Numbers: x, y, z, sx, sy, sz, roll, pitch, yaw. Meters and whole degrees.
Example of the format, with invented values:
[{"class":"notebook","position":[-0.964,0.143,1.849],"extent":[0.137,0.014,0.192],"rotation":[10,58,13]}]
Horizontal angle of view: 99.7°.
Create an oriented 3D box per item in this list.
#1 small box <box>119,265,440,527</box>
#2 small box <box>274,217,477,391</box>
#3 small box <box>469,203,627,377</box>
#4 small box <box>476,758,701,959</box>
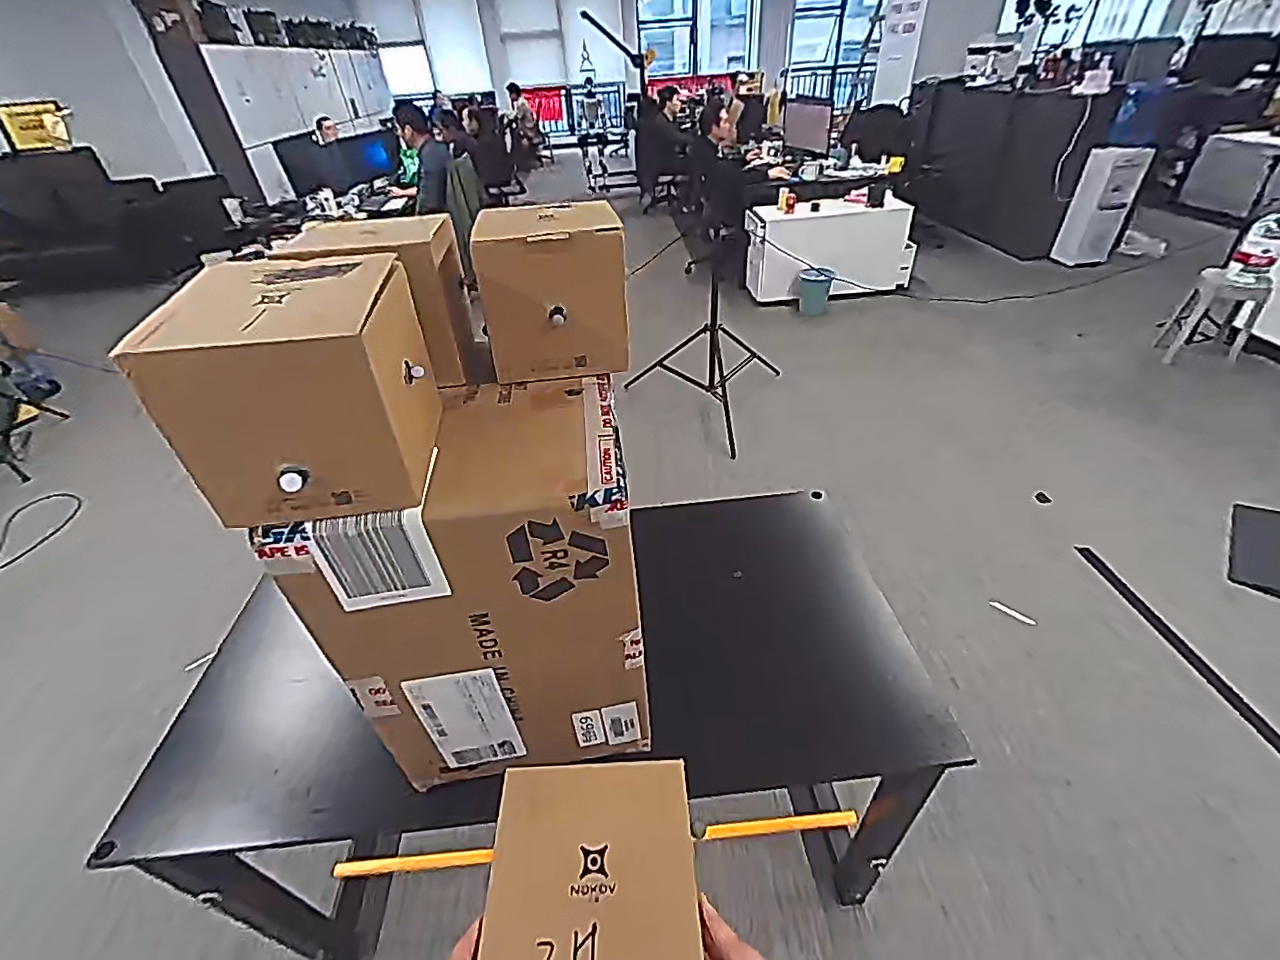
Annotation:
[{"class":"small box","position":[-0.291,-0.081,0.493],"extent":[0.168,0.176,0.179],"rotation":[-7,40,-7]},{"class":"small box","position":[-0.308,-0.217,0.676],"extent":[0.168,0.176,0.179],"rotation":[-9,37,-6]},{"class":"small box","position":[-0.110,-0.239,0.688],"extent":[0.168,0.176,0.179],"rotation":[-6,38,-7]},{"class":"small box","position":[-0.038,0.377,0.482],"extent":[0.168,0.176,0.179],"rotation":[-2,37,-1]}]
